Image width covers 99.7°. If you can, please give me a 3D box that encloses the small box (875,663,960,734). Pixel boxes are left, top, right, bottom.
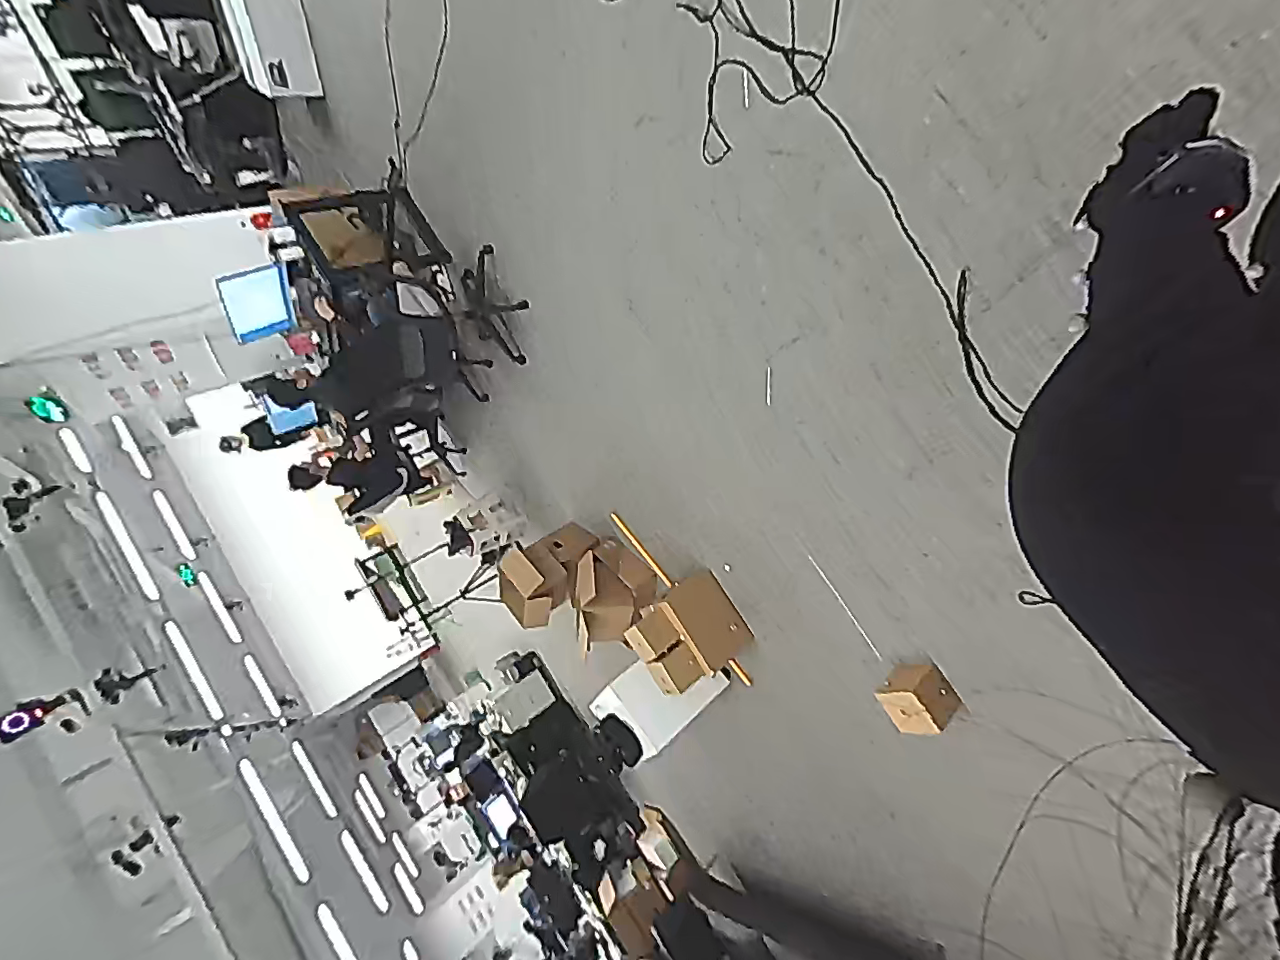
[{"bbox_3d":[0.984,0.772,1.916,0.168,0.176,0.179,56,147,6],"label":"small box"}]
